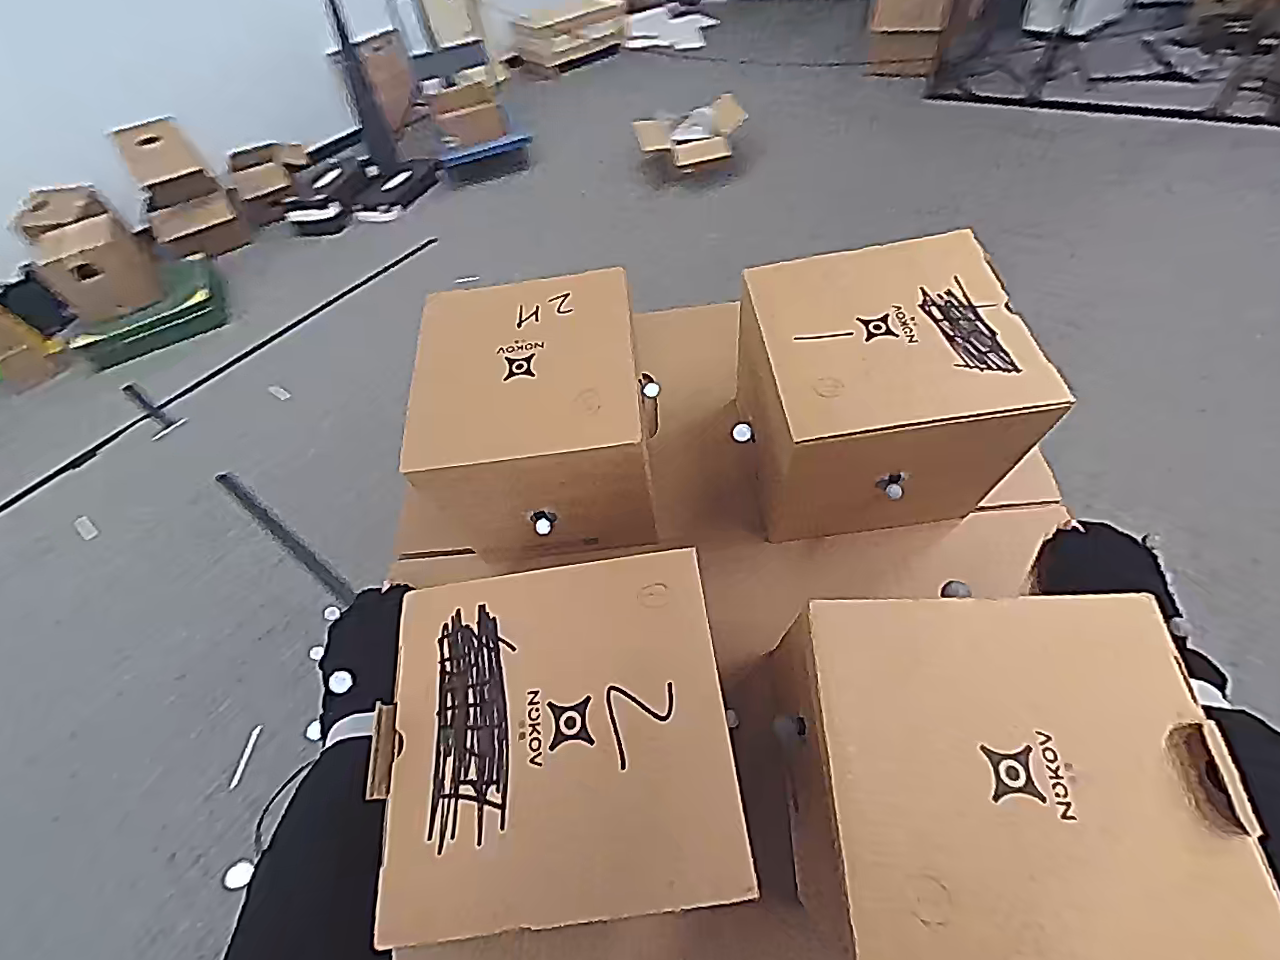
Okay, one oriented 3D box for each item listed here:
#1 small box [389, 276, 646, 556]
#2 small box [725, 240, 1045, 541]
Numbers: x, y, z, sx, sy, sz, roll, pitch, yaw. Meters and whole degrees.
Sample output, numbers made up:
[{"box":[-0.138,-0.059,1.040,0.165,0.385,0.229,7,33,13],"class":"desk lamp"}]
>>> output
[{"box":[-0.088,-0.043,0.471,0.168,0.176,0.179,-7,60,3],"class":"small box"},{"box":[0.171,-0.063,0.448,0.179,0.176,0.168,-9,60,4],"class":"small box"}]
